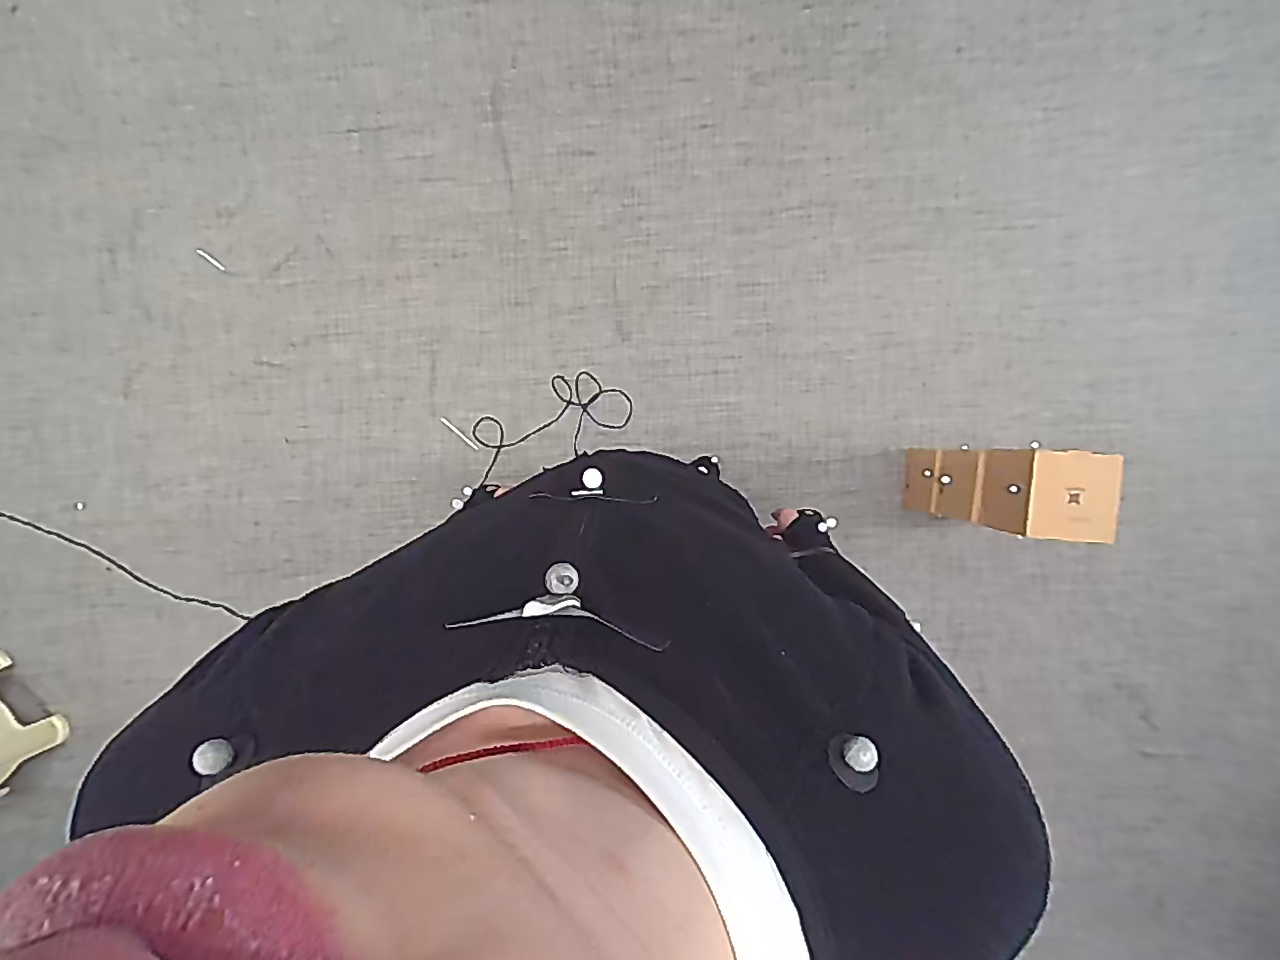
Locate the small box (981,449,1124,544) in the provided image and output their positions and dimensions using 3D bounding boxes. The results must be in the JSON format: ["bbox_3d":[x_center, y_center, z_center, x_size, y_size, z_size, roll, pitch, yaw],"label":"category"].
[{"bbox_3d":[0.839,0.027,1.117,0.168,0.176,0.179,4,95,3],"label":"small box"}]

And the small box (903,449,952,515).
[{"bbox_3d":[0.835,0.006,1.444,0.179,0.176,0.168,4,94,2],"label":"small box"}]

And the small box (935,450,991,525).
[{"bbox_3d":[0.837,0.019,1.279,0.179,0.176,0.168,5,93,3],"label":"small box"}]
